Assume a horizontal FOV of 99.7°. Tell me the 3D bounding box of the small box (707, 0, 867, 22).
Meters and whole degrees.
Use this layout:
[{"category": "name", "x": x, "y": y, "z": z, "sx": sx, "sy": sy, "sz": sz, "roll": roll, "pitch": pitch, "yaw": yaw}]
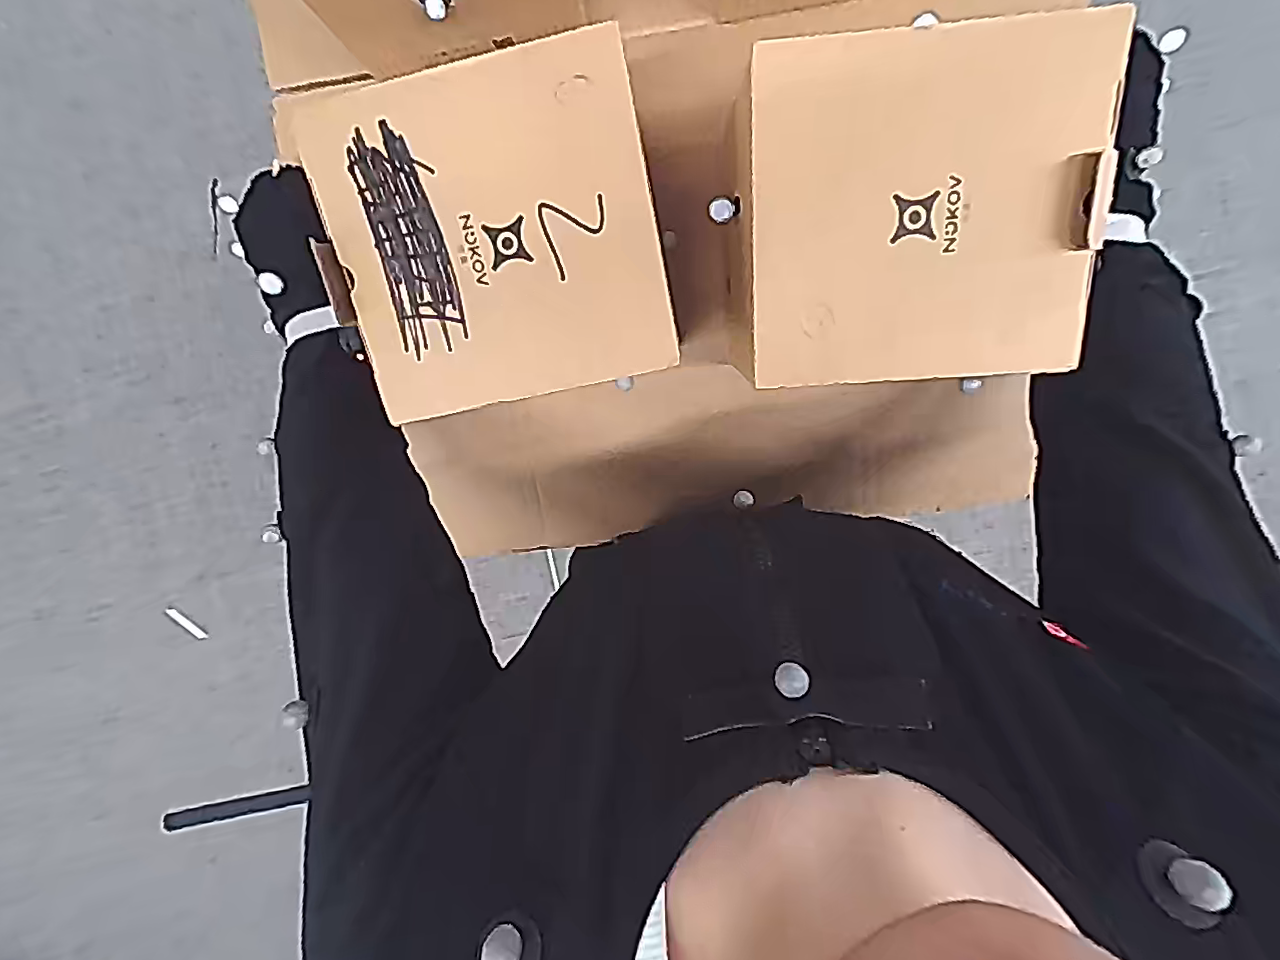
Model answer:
[{"category": "small box", "x": 0.123, "y": -0.409, "z": 0.301, "sx": 0.179, "sy": 0.176, "sz": 0.168, "roll": -6, "pitch": 98, "yaw": 6}]
